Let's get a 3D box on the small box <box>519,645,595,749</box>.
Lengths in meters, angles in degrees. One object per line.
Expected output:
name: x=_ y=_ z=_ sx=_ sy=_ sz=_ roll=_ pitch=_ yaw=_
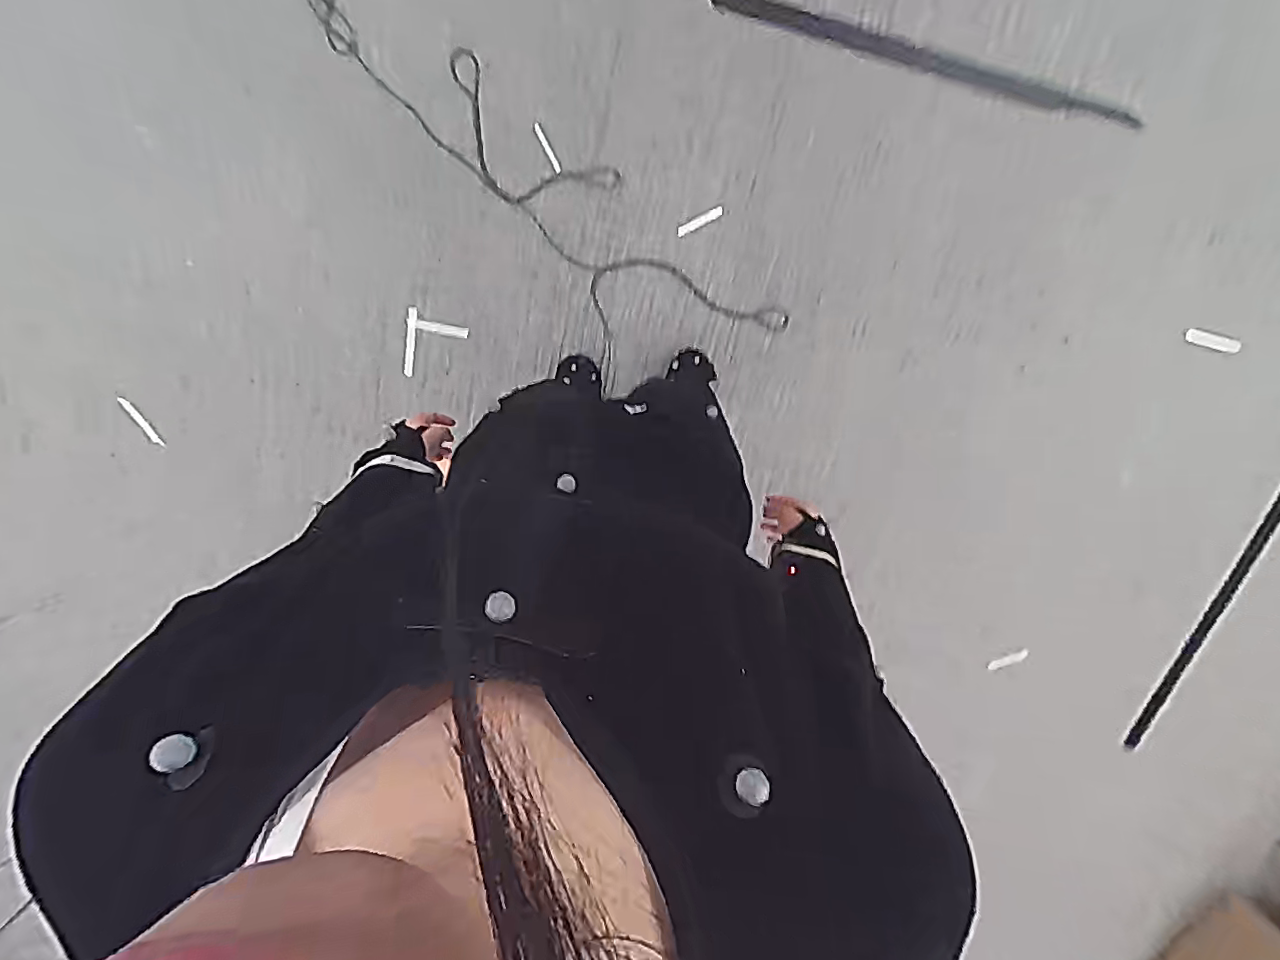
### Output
small box: x=-0.211 y=0.561 z=1.408 sx=0.168 sy=0.176 sz=0.179 roll=8 pitch=107 yaw=-4
